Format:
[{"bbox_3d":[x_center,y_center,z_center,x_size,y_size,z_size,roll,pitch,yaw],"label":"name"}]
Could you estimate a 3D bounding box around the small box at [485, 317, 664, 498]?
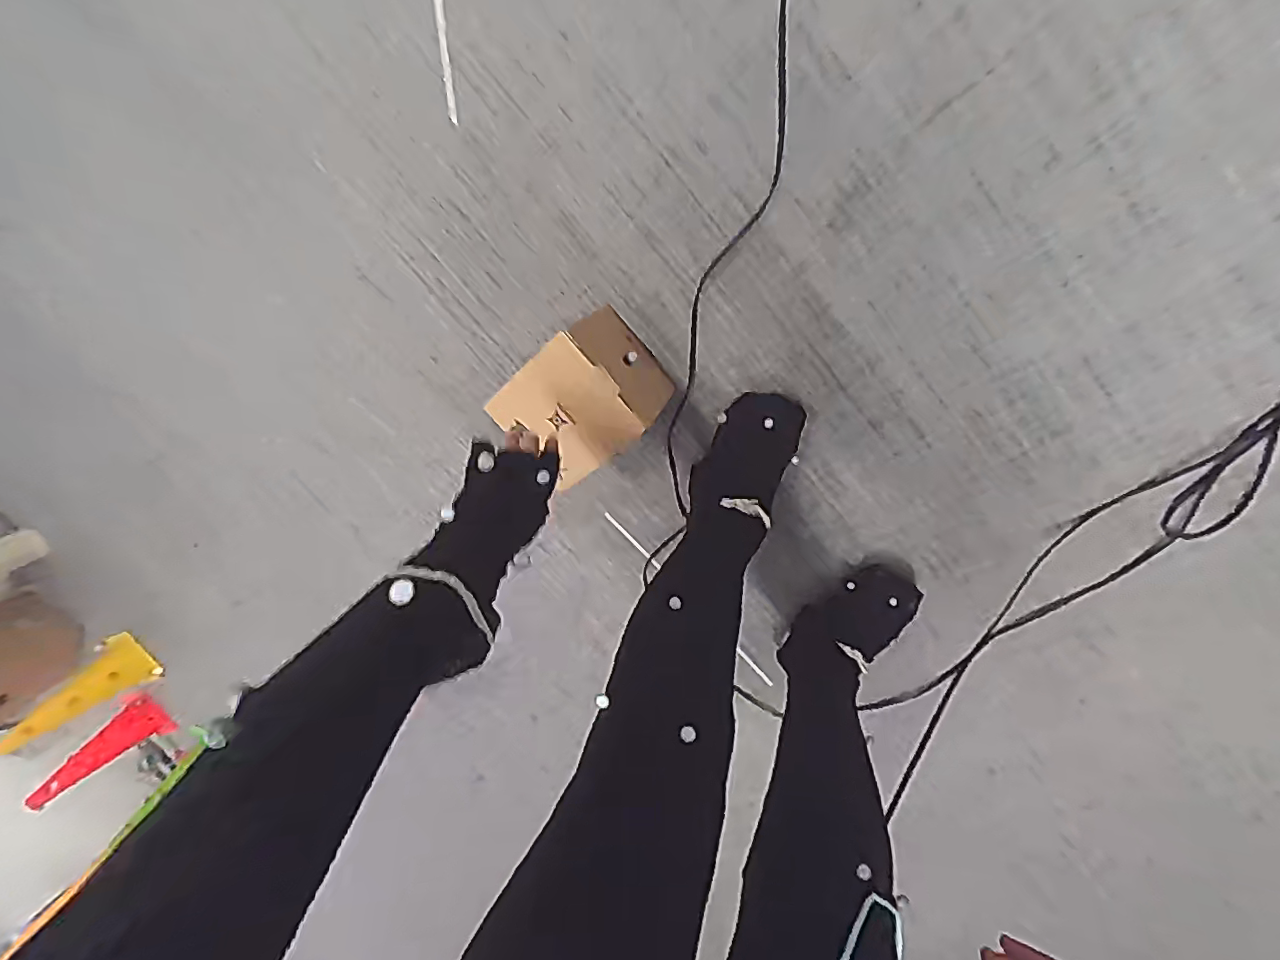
[{"bbox_3d":[-0.081,-0.111,0.782,0.179,0.176,0.168,-33,104,29],"label":"small box"}]
